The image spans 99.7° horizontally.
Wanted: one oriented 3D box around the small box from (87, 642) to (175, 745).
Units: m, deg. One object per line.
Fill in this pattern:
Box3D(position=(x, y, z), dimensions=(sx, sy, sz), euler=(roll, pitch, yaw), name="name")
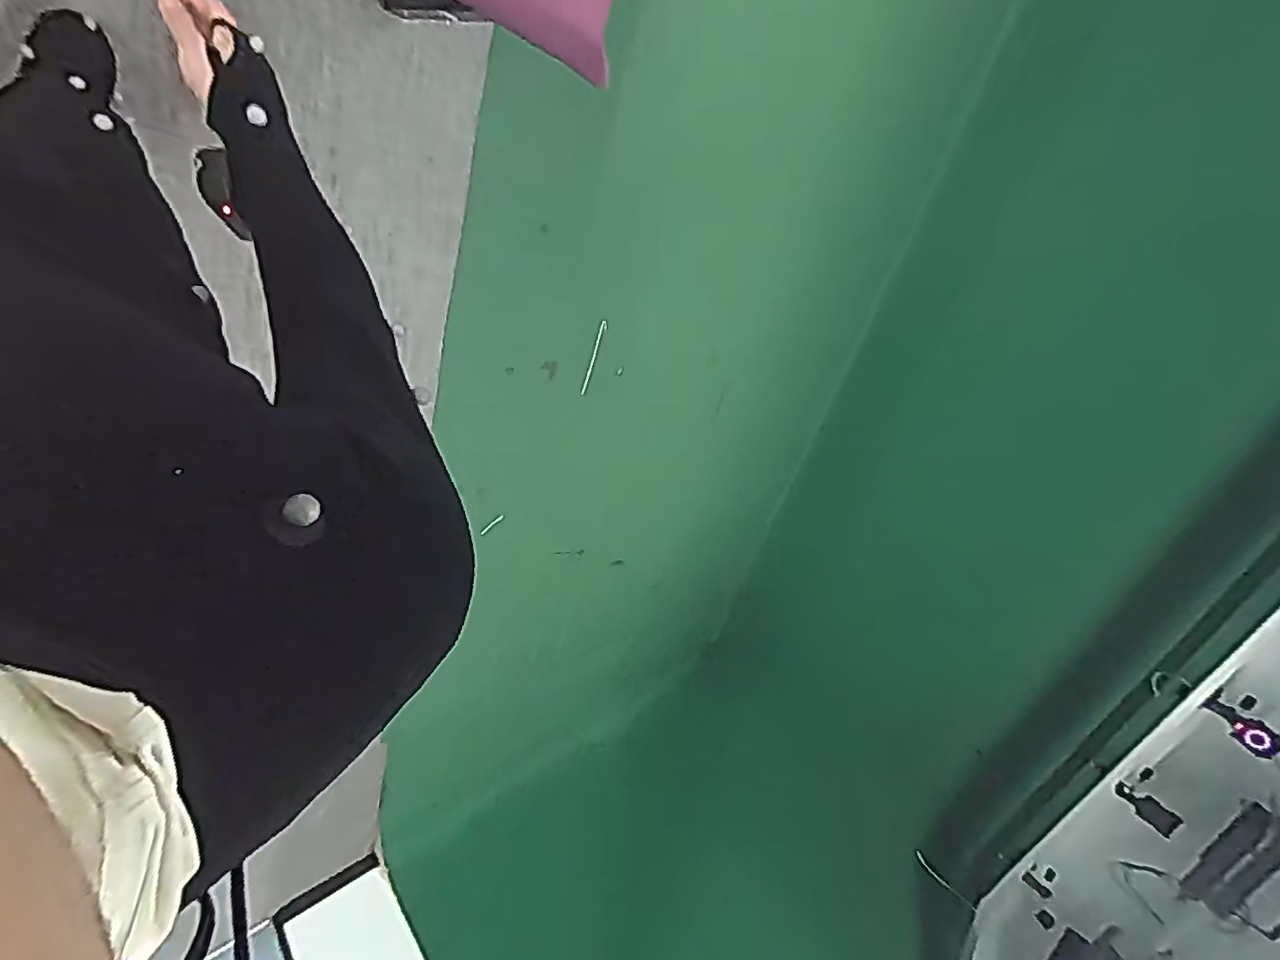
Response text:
Box3D(position=(-1.428, 0.592, 1.518), dimensions=(0.168, 0.176, 0.179), euler=(-7, 125, -48), name="small box")
